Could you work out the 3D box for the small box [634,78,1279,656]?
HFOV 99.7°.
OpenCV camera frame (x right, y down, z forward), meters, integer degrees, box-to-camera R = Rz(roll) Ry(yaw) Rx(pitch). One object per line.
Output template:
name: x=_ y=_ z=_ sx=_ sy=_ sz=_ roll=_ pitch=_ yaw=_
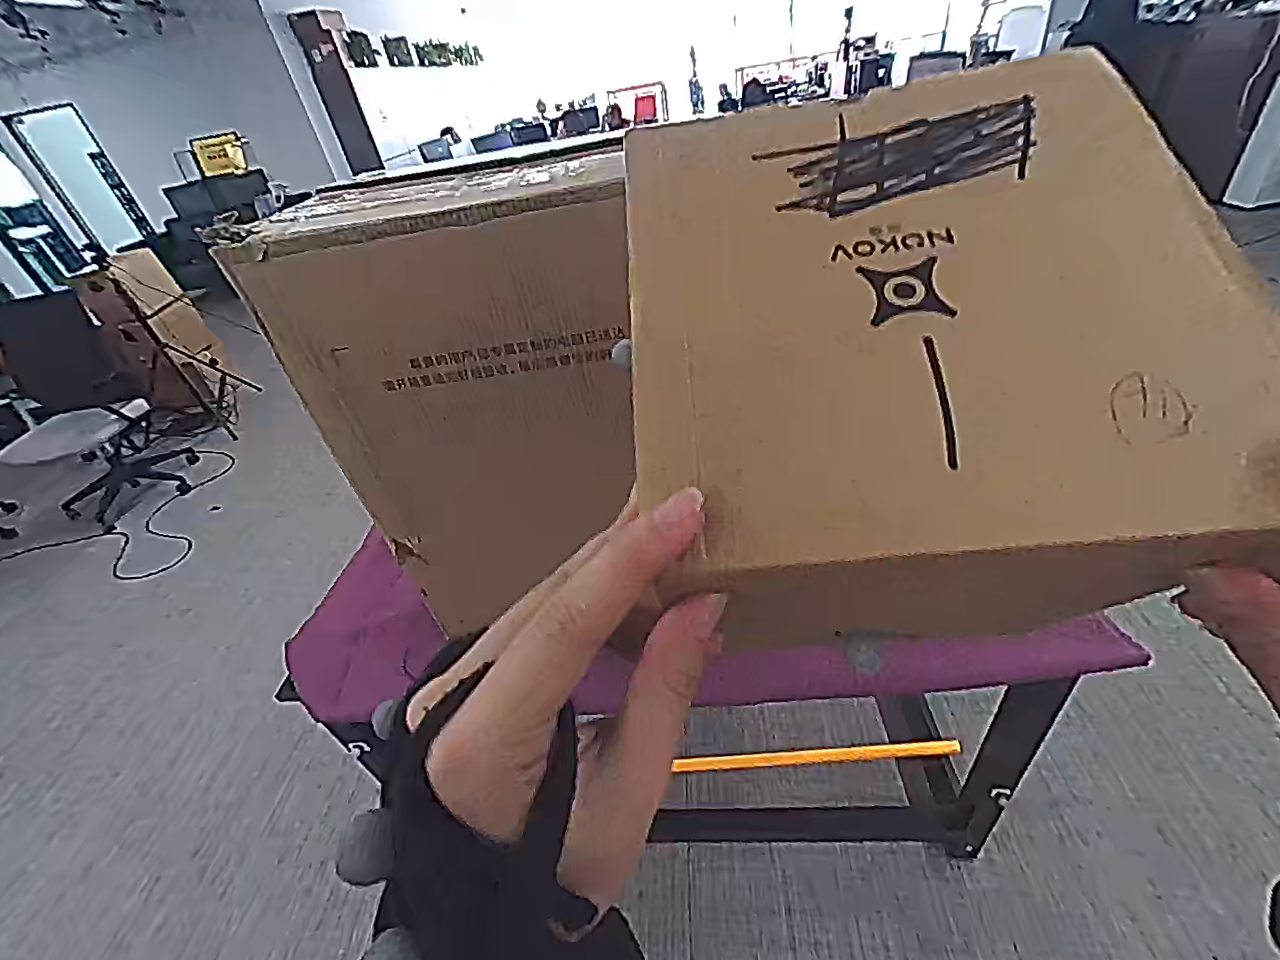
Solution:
small box: x=0.091 y=-0.026 z=0.239 sx=0.168 sy=0.176 sz=0.179 roll=-6 pitch=66 yaw=8
